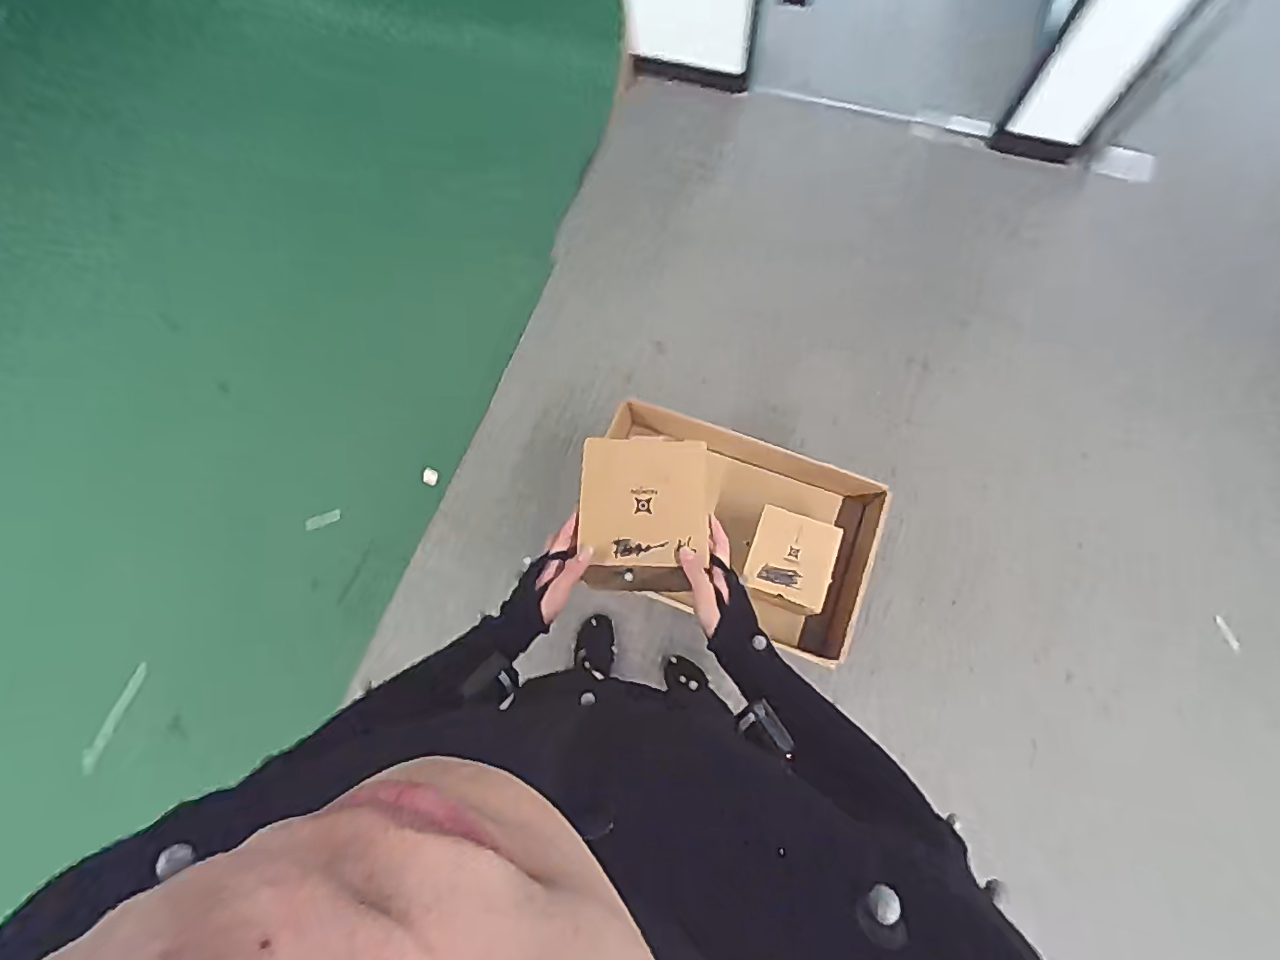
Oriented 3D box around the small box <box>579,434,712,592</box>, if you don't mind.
[{"bbox_3d":[0.007,0.052,0.762,0.168,0.176,0.179,2,67,0],"label":"small box"}]
